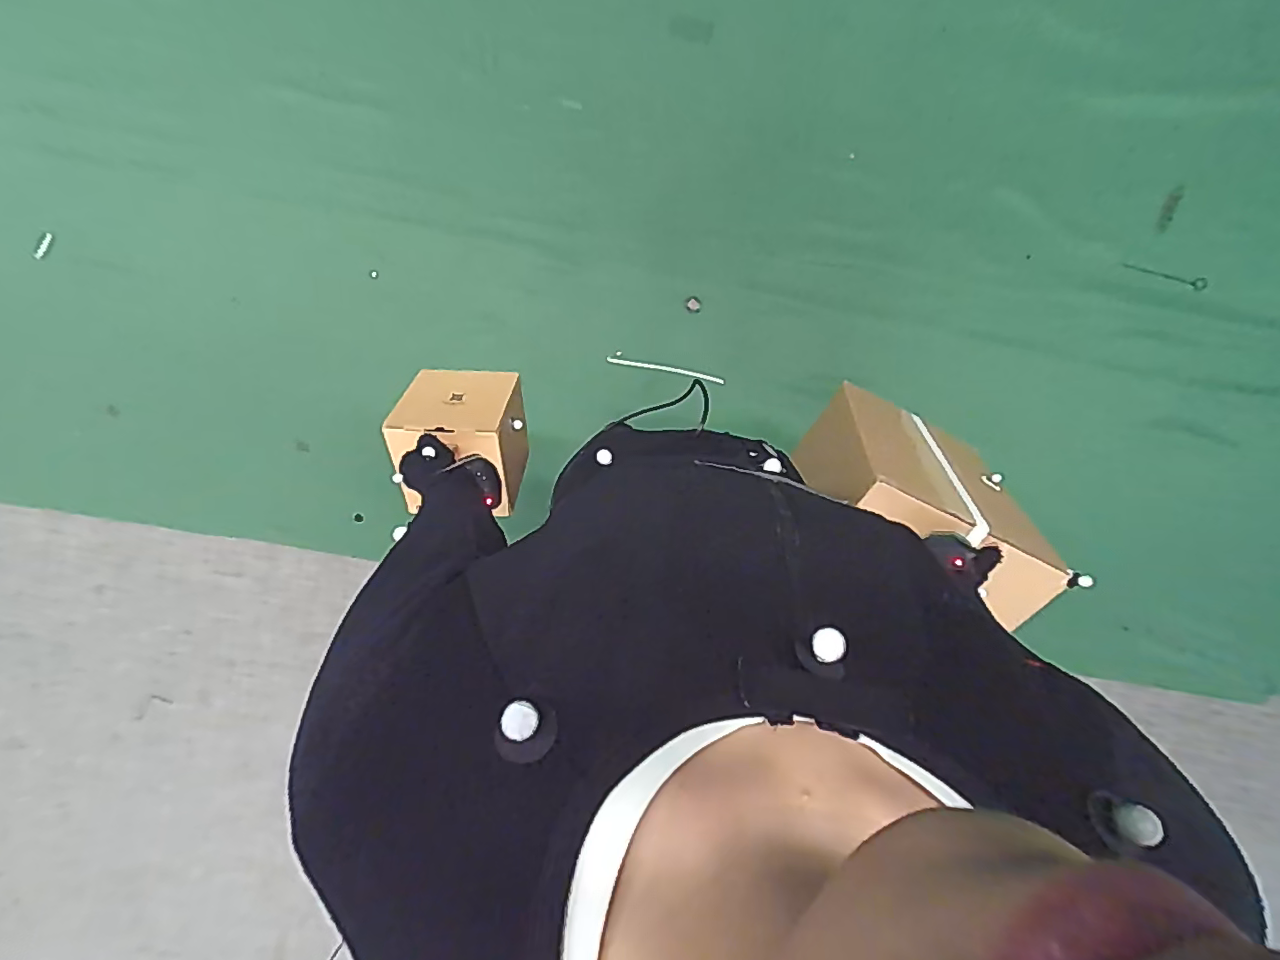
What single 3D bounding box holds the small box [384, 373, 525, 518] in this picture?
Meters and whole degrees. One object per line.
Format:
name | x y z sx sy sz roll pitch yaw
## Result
small box | -0.289 -0.059 0.891 0.168 0.179 0.176 2 130 0
